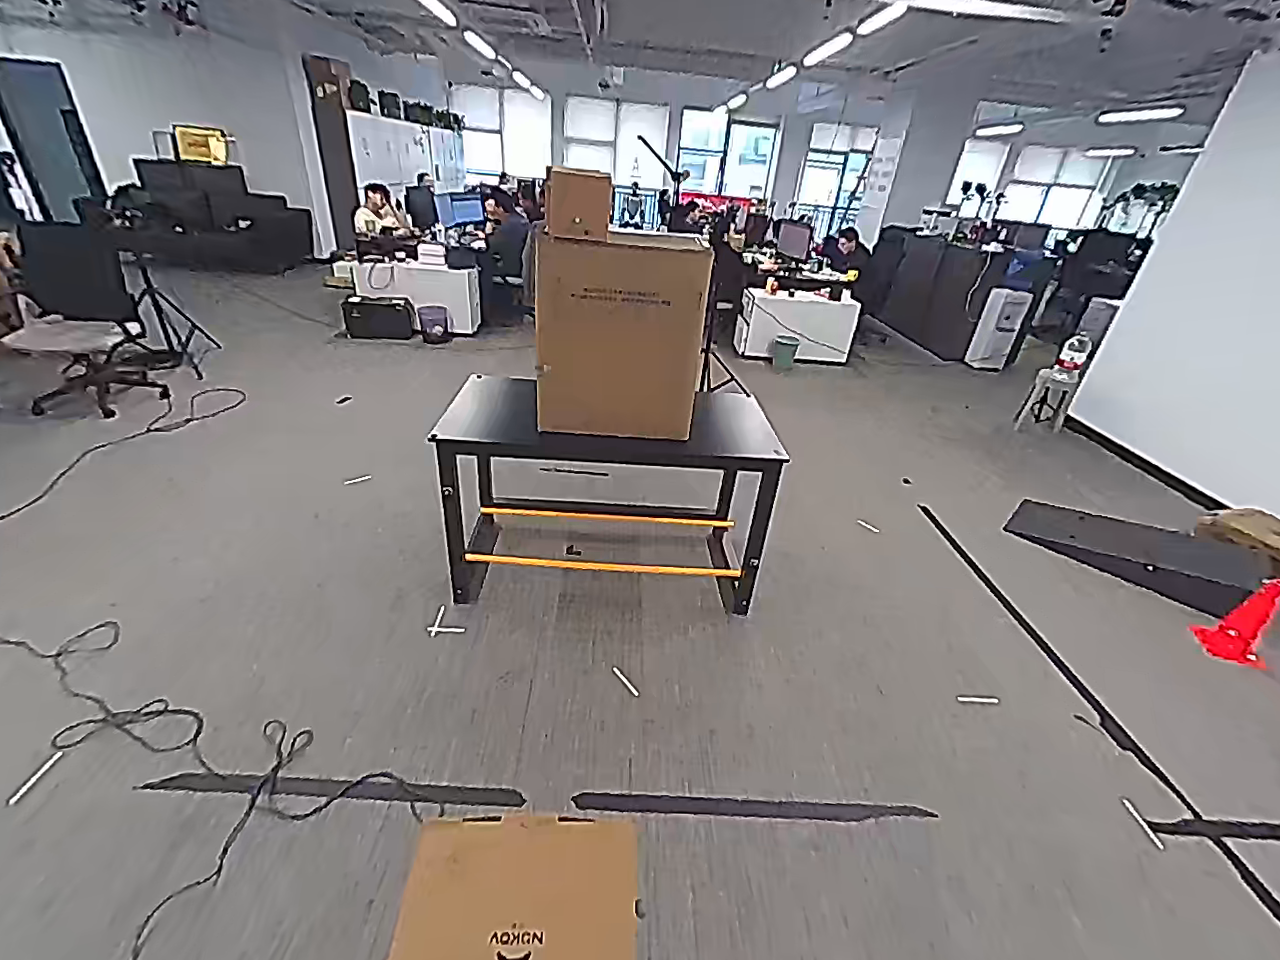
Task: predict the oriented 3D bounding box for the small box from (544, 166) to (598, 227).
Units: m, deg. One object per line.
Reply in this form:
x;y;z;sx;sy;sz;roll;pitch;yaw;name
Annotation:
-0.218;-0.898;1.728;0.168;0.176;0.179;1;30;-8;small box

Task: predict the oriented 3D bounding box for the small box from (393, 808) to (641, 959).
-0.086;0.376;0.413;0.168;0.176;0.179;1;42;-3;small box

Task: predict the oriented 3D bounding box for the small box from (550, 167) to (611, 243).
-0.173;-0.800;1.570;0.168;0.176;0.179;3;33;-7;small box
